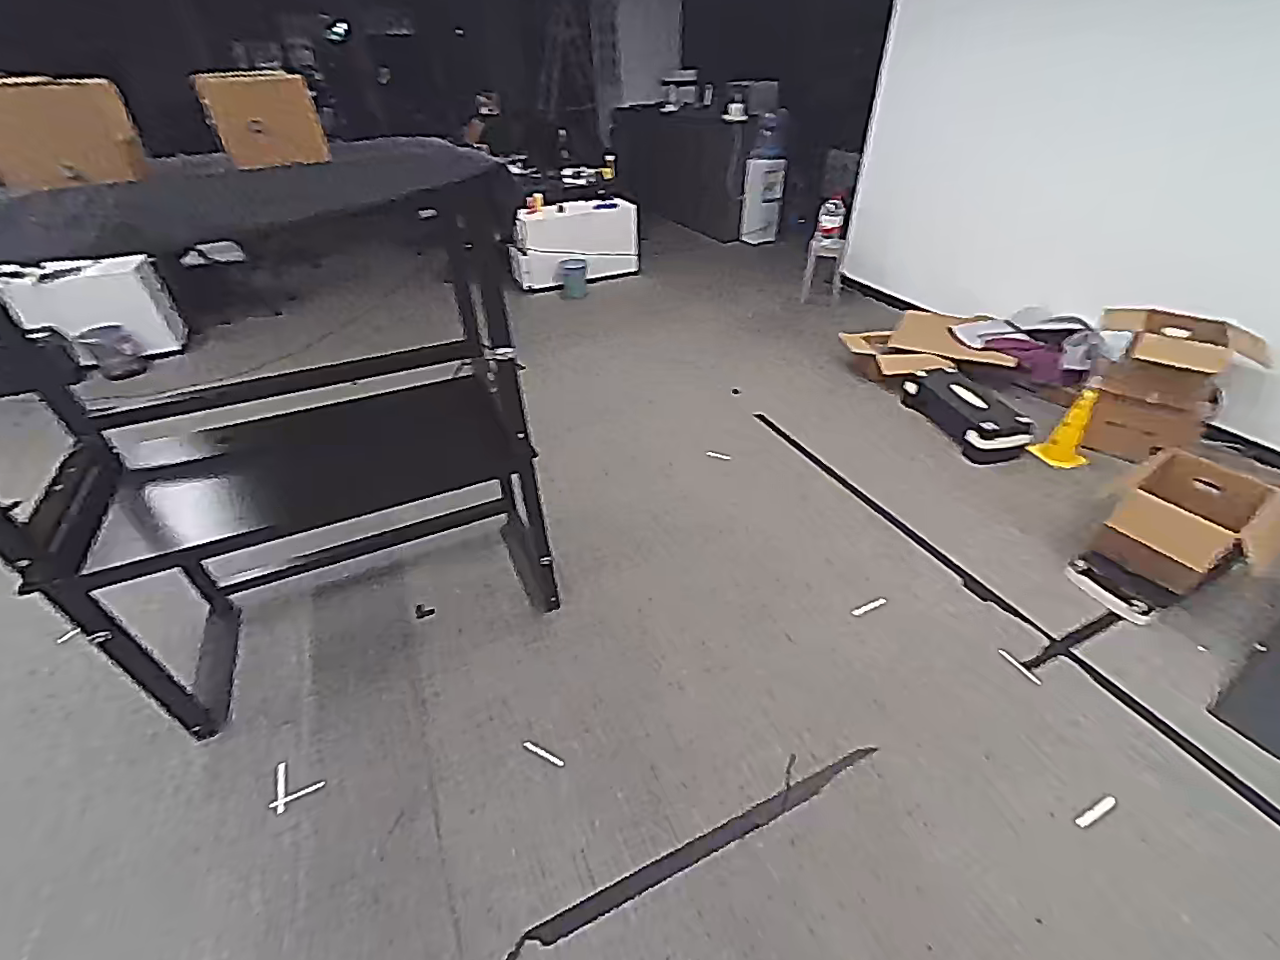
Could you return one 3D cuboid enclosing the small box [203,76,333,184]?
[{"bbox_3d":[-0.745,-0.710,1.100,0.168,0.176,0.179,-19,40,-21],"label":"small box"}]

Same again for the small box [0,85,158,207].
[{"bbox_3d":[-1.021,-0.601,0.970,0.179,0.176,0.168,-17,39,-20],"label":"small box"}]

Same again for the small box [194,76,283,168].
[{"bbox_3d":[-0.908,-0.854,1.289,0.179,0.176,0.168,-18,41,-19],"label":"small box"}]
